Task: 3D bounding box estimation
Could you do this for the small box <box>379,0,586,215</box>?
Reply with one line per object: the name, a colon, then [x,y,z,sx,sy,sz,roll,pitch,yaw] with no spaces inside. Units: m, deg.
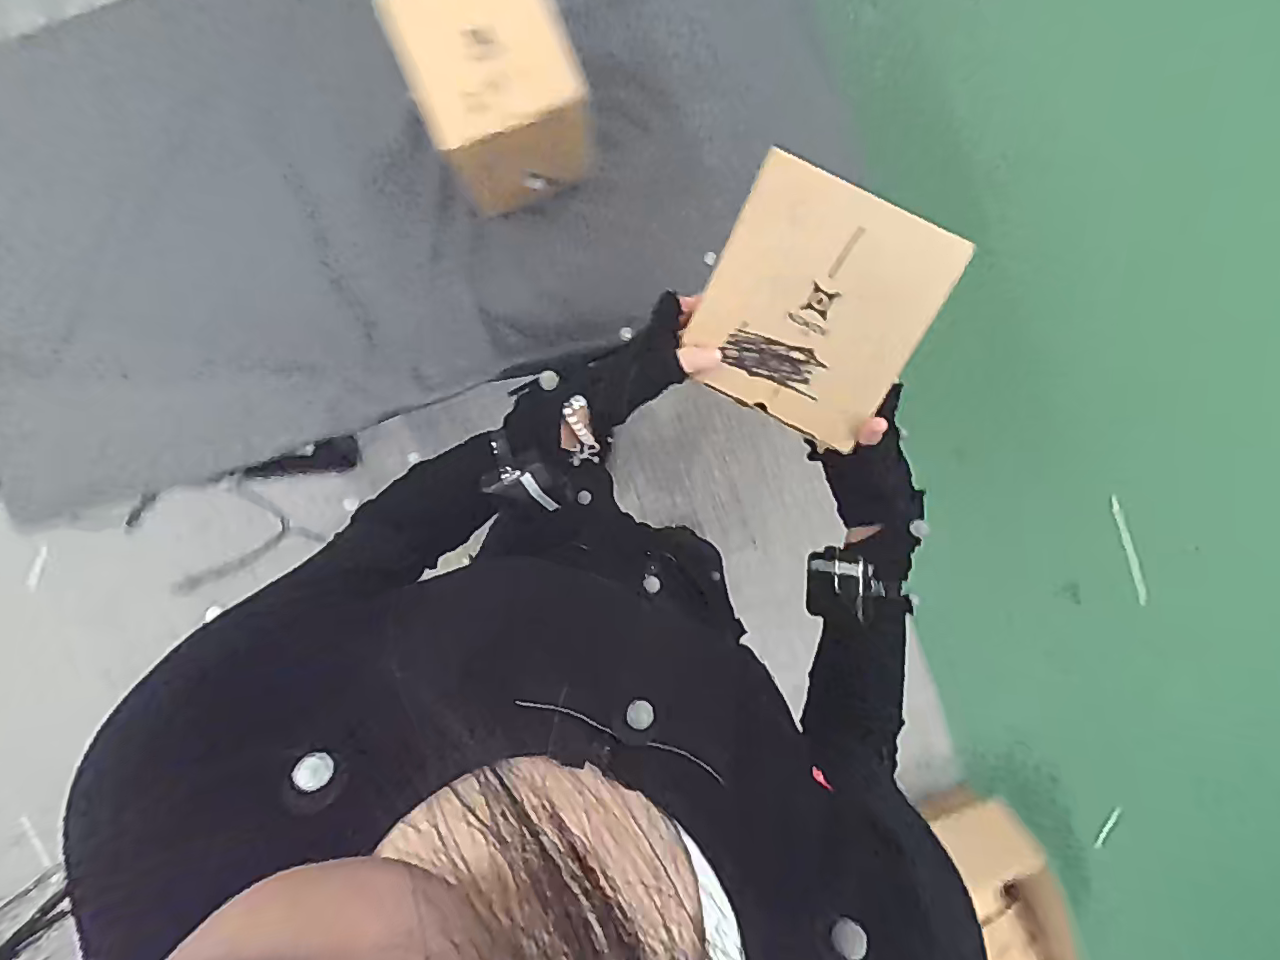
small box: [-0.177,-0.469,0.664,0.168,0.176,0.179,-23,93,1]
